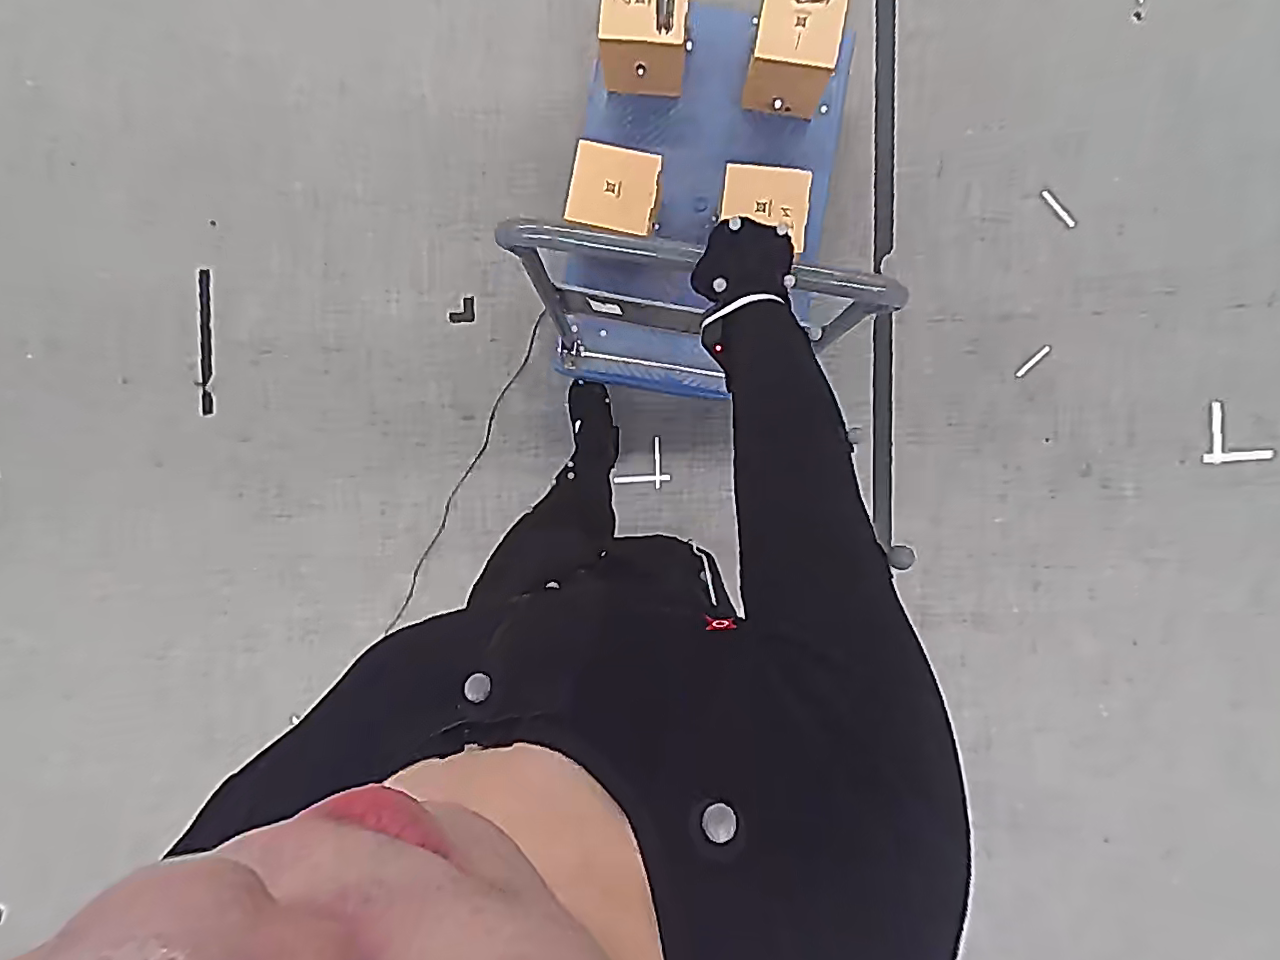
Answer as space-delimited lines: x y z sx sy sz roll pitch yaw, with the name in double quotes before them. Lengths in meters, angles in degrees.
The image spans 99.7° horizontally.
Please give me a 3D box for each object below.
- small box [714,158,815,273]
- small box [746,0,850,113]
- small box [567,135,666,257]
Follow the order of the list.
"small box" 0.259 -0.560 1.166 0.179 0.176 0.168 7 94 1
"small box" 0.328 -0.928 1.144 0.168 0.176 0.179 10 95 1
"small box" -0.047 -0.605 1.173 0.179 0.176 0.168 11 93 0
